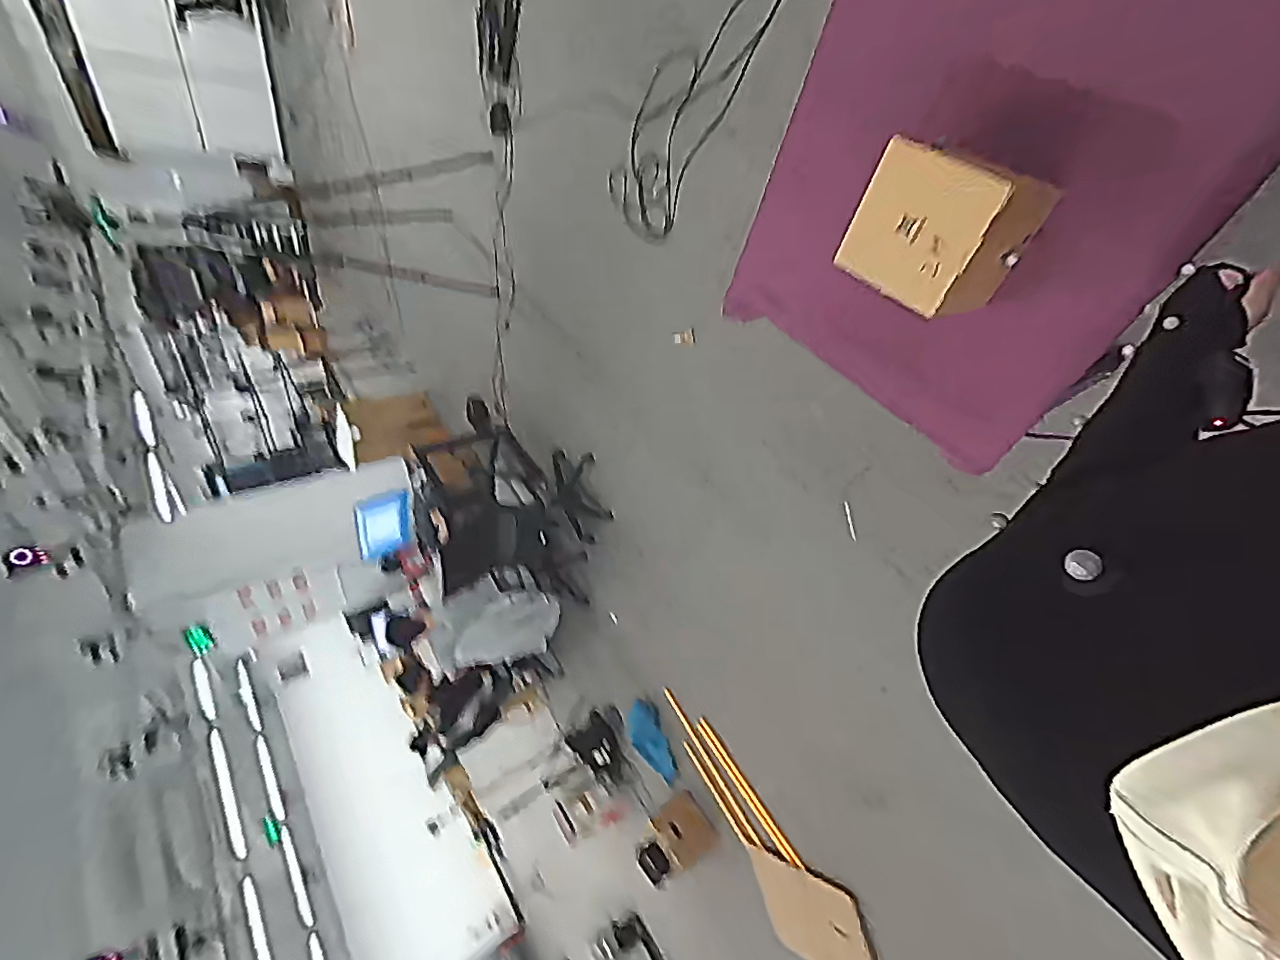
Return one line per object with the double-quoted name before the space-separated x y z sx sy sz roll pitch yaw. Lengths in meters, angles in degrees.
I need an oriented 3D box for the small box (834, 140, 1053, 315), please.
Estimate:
"small box" 0.421 -0.353 0.762 0.179 0.176 0.168 48 140 30
